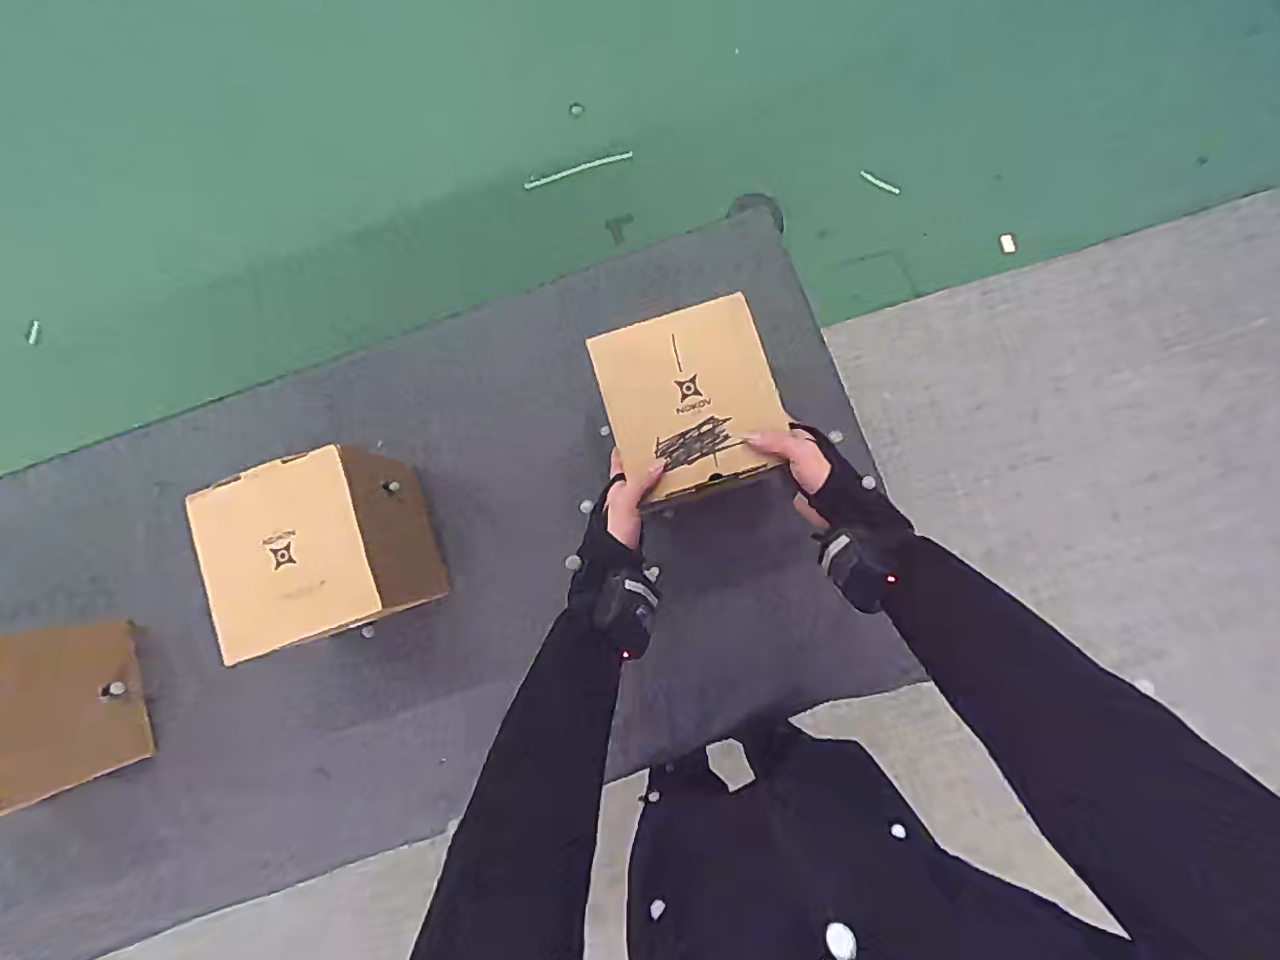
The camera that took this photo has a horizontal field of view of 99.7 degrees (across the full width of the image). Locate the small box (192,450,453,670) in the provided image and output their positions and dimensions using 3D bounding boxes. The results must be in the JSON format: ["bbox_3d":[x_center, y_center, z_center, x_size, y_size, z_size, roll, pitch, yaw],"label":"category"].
[{"bbox_3d":[-0.337,0.085,0.606,0.168,0.176,0.179,-20,84,2],"label":"small box"}]

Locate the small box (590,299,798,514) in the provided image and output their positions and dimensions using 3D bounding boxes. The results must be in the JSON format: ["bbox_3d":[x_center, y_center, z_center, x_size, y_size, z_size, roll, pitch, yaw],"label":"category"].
[{"bbox_3d":[0.055,-0.066,0.602,0.168,0.176,0.179,-17,83,0],"label":"small box"}]

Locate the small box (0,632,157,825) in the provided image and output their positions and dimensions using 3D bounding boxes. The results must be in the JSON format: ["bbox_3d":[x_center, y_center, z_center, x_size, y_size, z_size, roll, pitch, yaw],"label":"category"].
[{"bbox_3d":[-0.696,0.279,0.597,0.168,0.176,0.179,-20,82,0],"label":"small box"}]
